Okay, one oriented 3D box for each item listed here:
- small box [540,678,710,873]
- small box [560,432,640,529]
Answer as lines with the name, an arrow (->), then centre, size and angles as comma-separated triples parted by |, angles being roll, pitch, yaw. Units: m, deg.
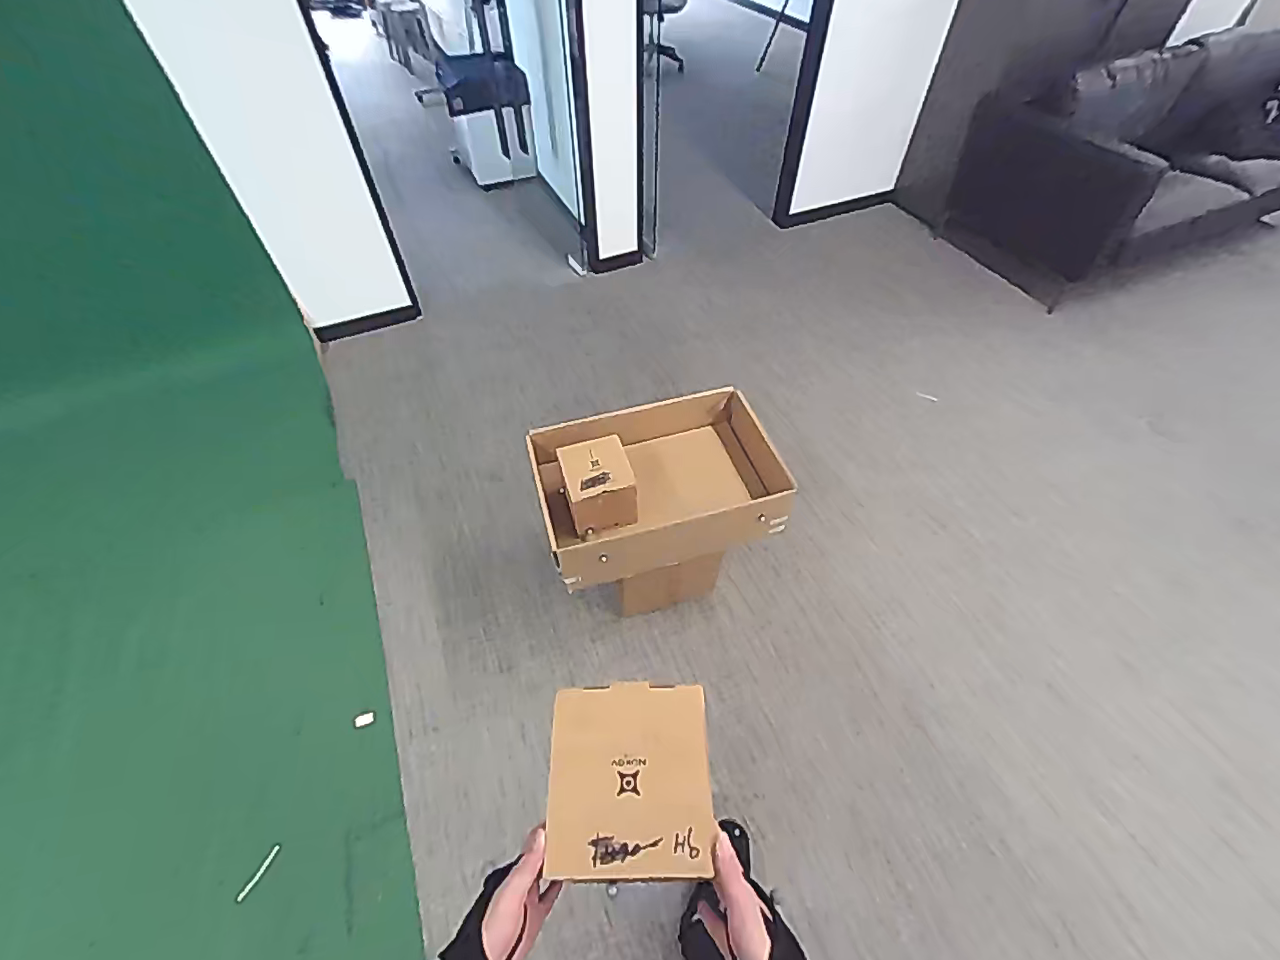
small box -> -0.010, 0.345, 0.628 | 0.168, 0.176, 0.179 | -3, 53, 3
small box -> -0.100, 0.008, 1.399 | 0.168, 0.176, 0.179 | -15, 53, -10
